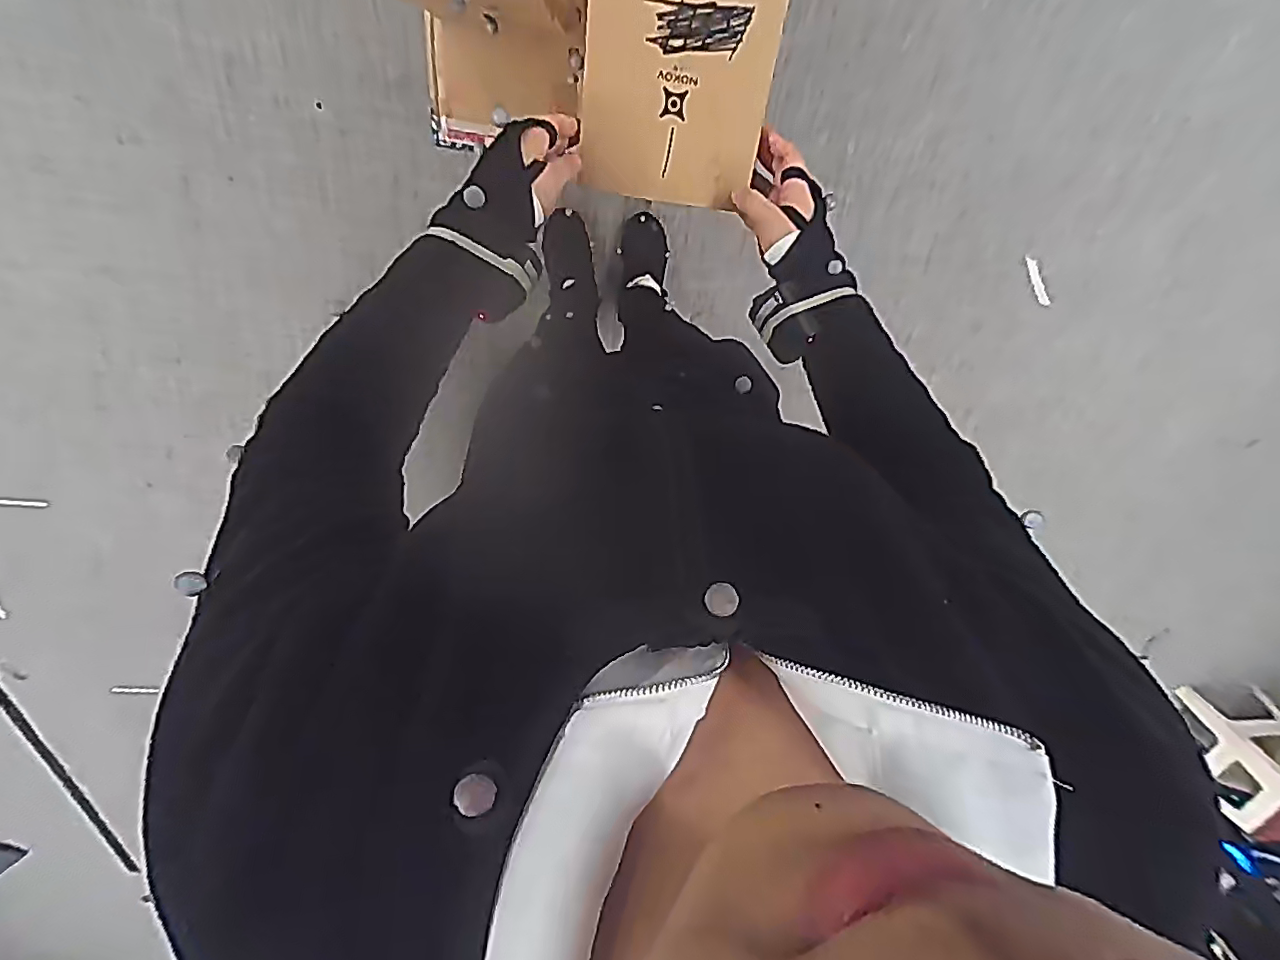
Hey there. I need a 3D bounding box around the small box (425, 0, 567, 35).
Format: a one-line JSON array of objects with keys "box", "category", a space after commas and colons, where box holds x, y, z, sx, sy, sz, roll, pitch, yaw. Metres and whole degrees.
[{"box": [-0.165, -0.612, 0.581, 0.168, 0.176, 0.179, 3, 122, -4], "category": "small box"}]

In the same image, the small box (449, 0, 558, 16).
[{"box": [-0.154, -0.516, 0.447, 0.168, 0.176, 0.179, 4, 123, -5], "category": "small box"}]

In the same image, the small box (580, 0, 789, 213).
[{"box": [0.029, -0.385, 0.544, 0.168, 0.176, 0.179, 4, 123, -6], "category": "small box"}]
